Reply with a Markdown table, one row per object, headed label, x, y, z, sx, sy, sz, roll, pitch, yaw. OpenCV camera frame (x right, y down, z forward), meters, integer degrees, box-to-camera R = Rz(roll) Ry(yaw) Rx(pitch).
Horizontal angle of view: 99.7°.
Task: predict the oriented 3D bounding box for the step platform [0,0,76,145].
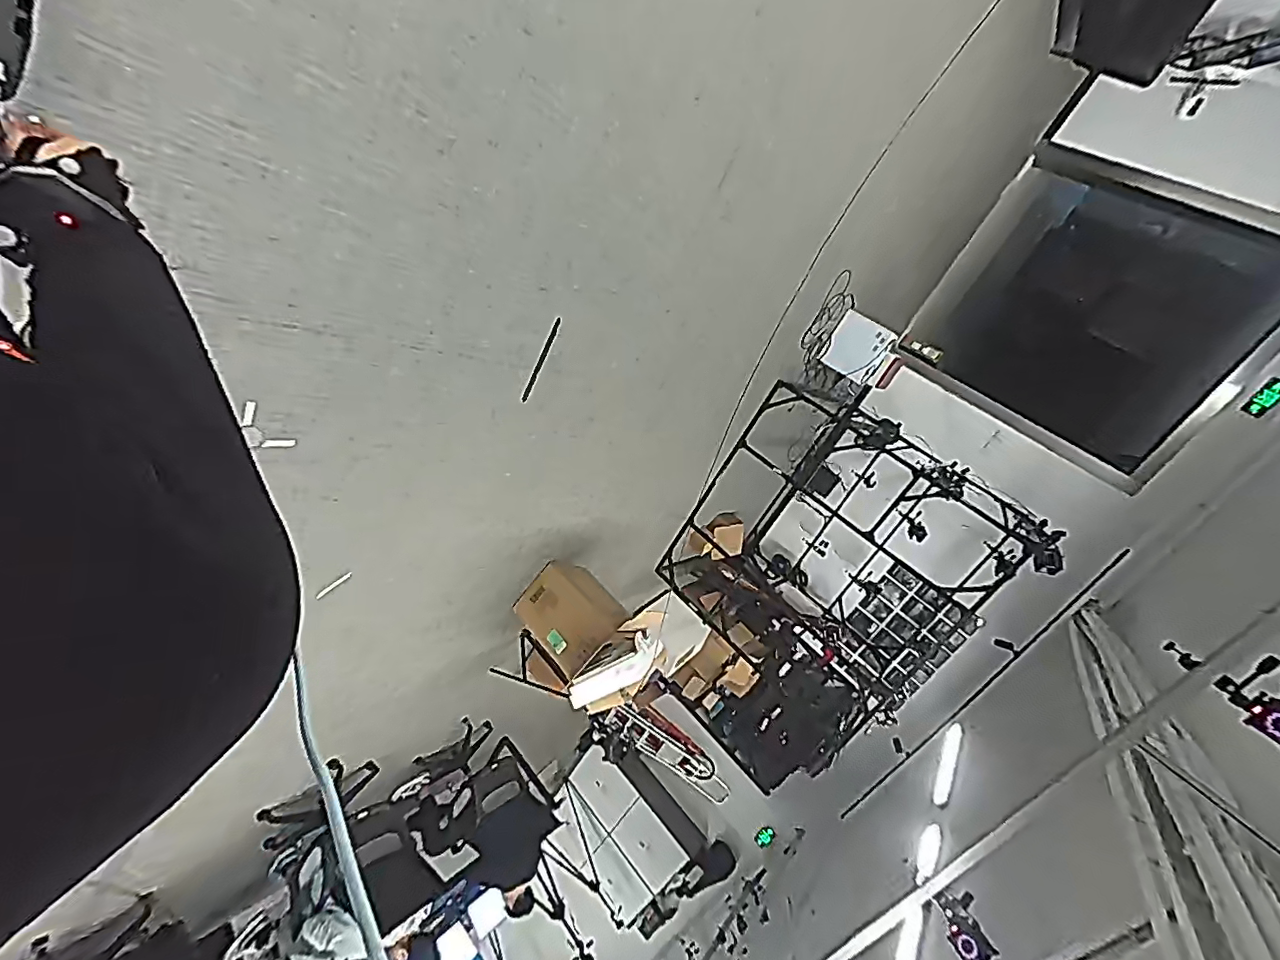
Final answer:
| label | x | y | z | sx | sy | sz | roll | pitch | yaw |
| --- | --- | --- | --- | --- | --- | --- | --- | --- | --- |
| step platform | -1.122 | -0.693 | 0.600 | 0.684 | 0.204 | 0.286 | 2 | 124 | -59 |
